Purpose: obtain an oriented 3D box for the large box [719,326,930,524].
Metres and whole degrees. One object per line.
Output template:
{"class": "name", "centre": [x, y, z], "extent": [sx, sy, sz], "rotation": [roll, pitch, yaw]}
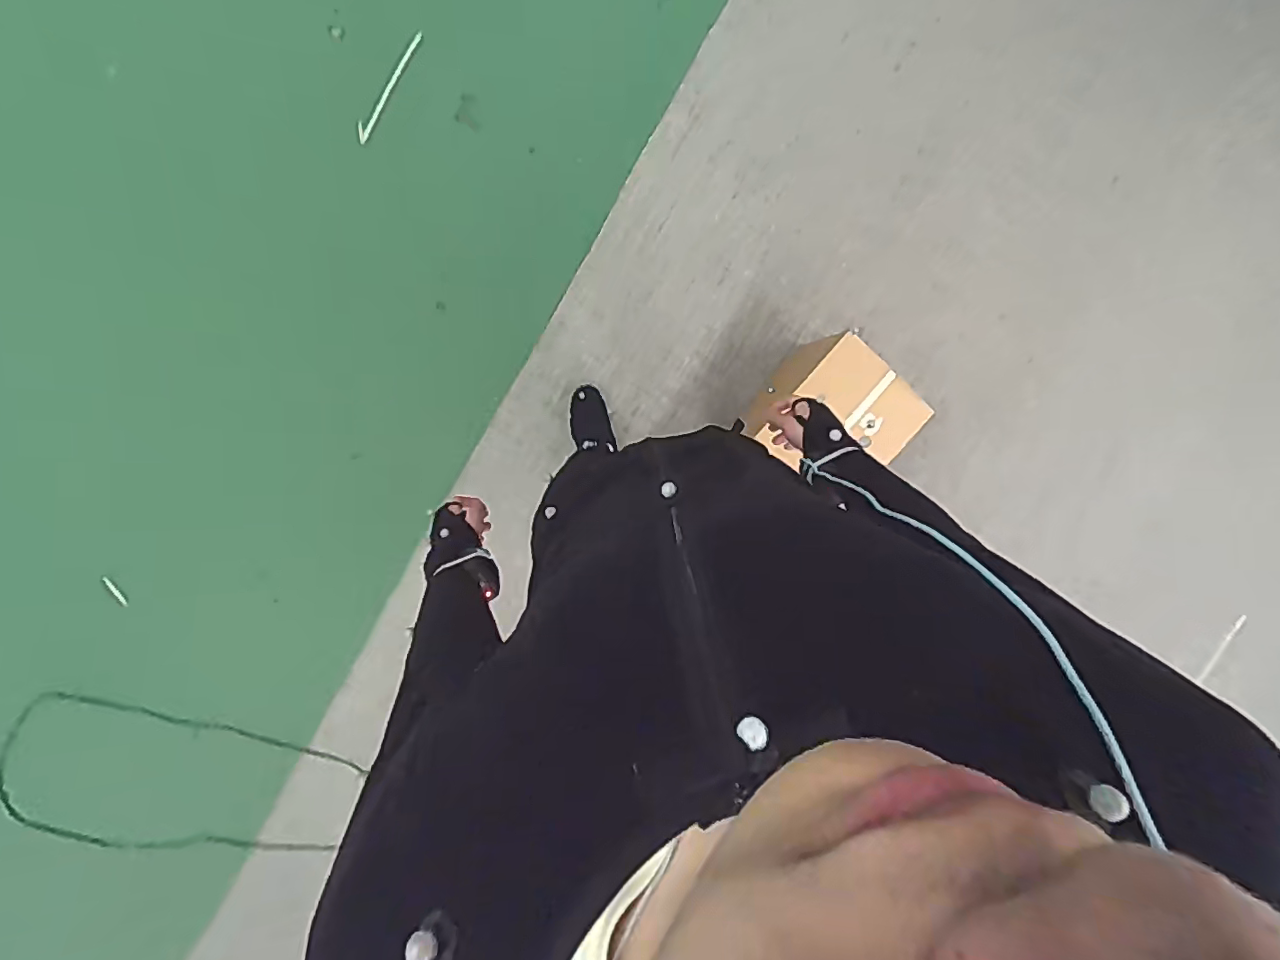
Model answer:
{"class": "large box", "centre": [0.481, -0.146, 1.498], "extent": [0.320, 0.320, 0.408], "rotation": [40, 92, -8]}
